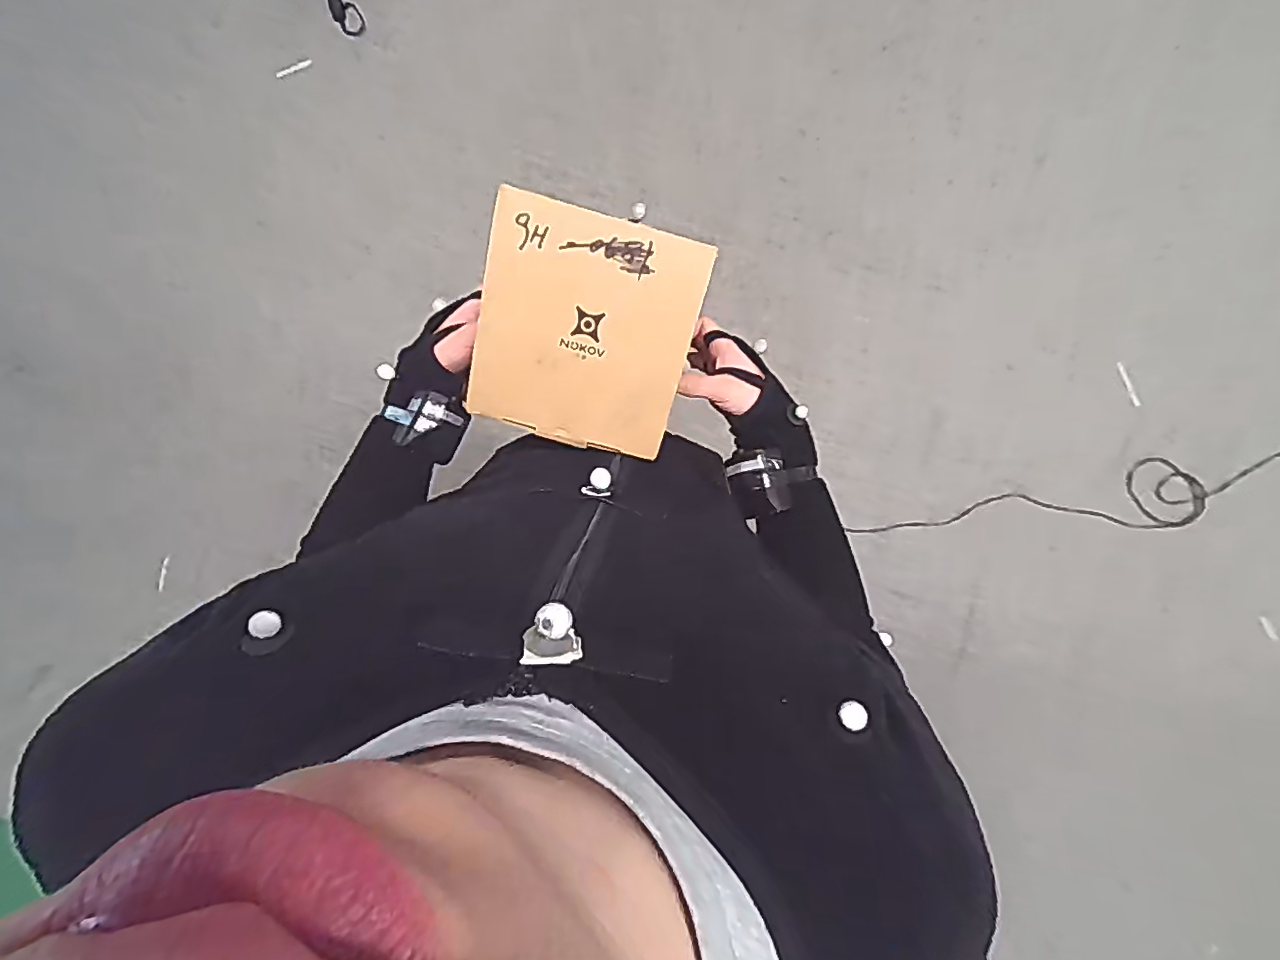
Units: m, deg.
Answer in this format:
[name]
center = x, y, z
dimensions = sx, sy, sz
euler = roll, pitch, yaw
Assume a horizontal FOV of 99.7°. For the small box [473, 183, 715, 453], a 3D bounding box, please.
[small box]
center = -0.040, -0.150, 0.498
dimensions = 0.168, 0.176, 0.179
euler = 13, 113, -5
